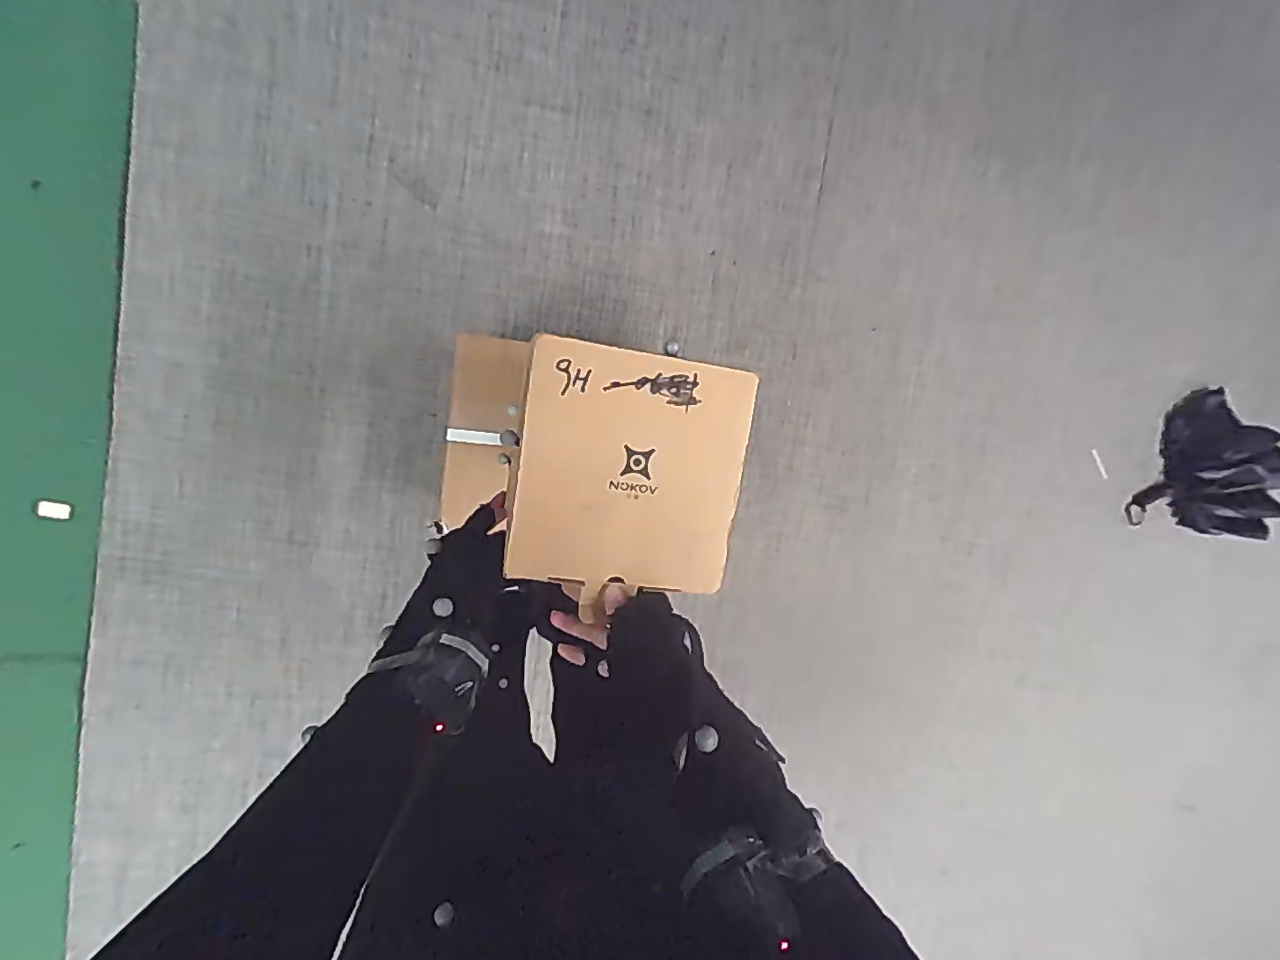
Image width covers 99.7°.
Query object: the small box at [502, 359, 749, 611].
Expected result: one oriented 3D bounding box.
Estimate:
[{"bbox_3d":[-0.024,-0.004,0.477,0.168,0.176,0.179,6,99,-12],"label":"small box"}]
